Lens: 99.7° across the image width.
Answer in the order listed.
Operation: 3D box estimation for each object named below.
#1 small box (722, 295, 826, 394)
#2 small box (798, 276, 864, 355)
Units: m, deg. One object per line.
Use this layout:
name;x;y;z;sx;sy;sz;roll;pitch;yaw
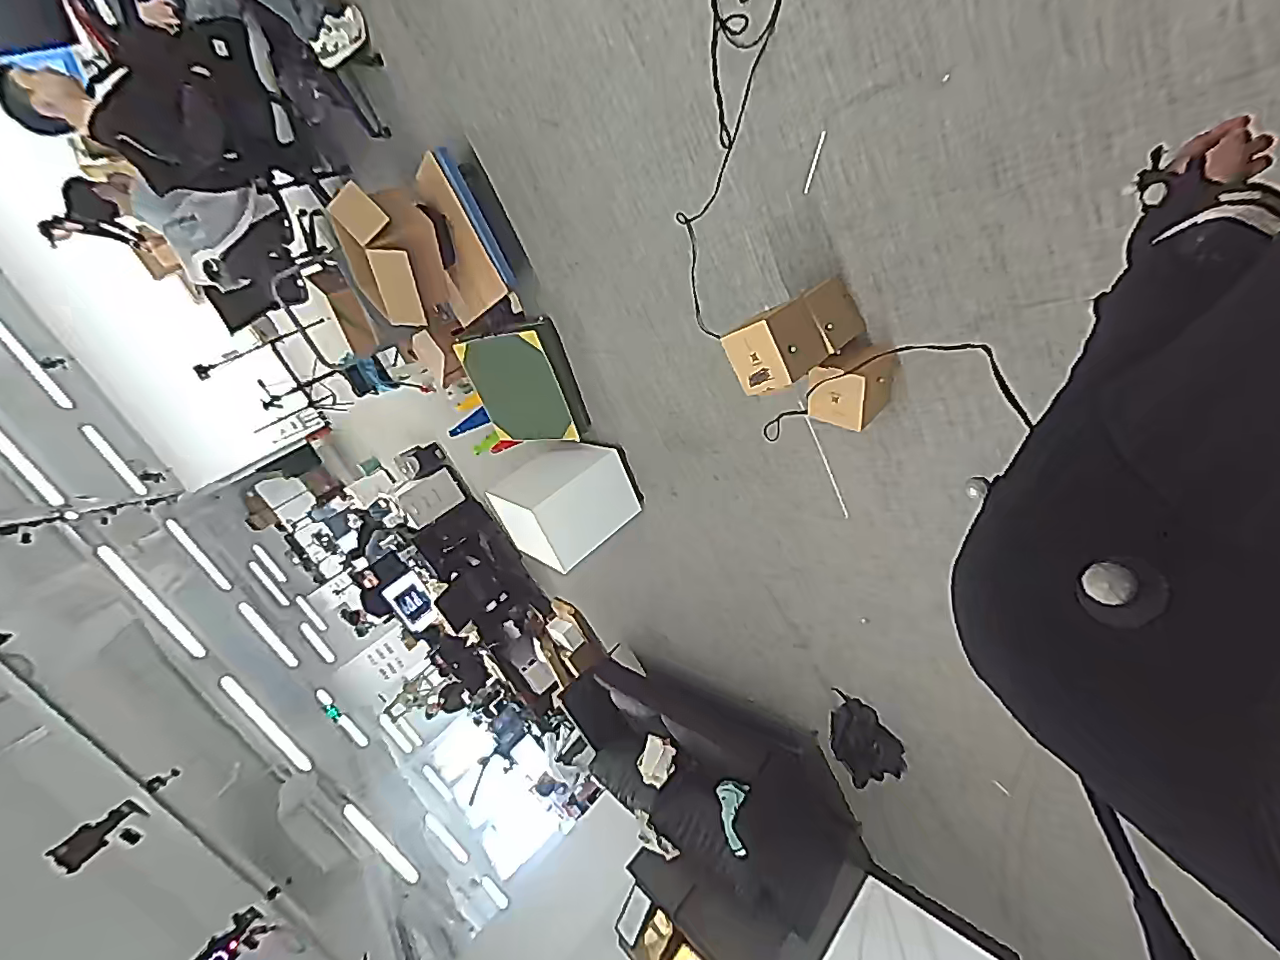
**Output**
small box;0.354;-0.351;1.413;0.168;0.176;0.179;-6;117;57
small box;0.476;-0.431;1.489;0.168;0.176;0.179;59;151;-10
